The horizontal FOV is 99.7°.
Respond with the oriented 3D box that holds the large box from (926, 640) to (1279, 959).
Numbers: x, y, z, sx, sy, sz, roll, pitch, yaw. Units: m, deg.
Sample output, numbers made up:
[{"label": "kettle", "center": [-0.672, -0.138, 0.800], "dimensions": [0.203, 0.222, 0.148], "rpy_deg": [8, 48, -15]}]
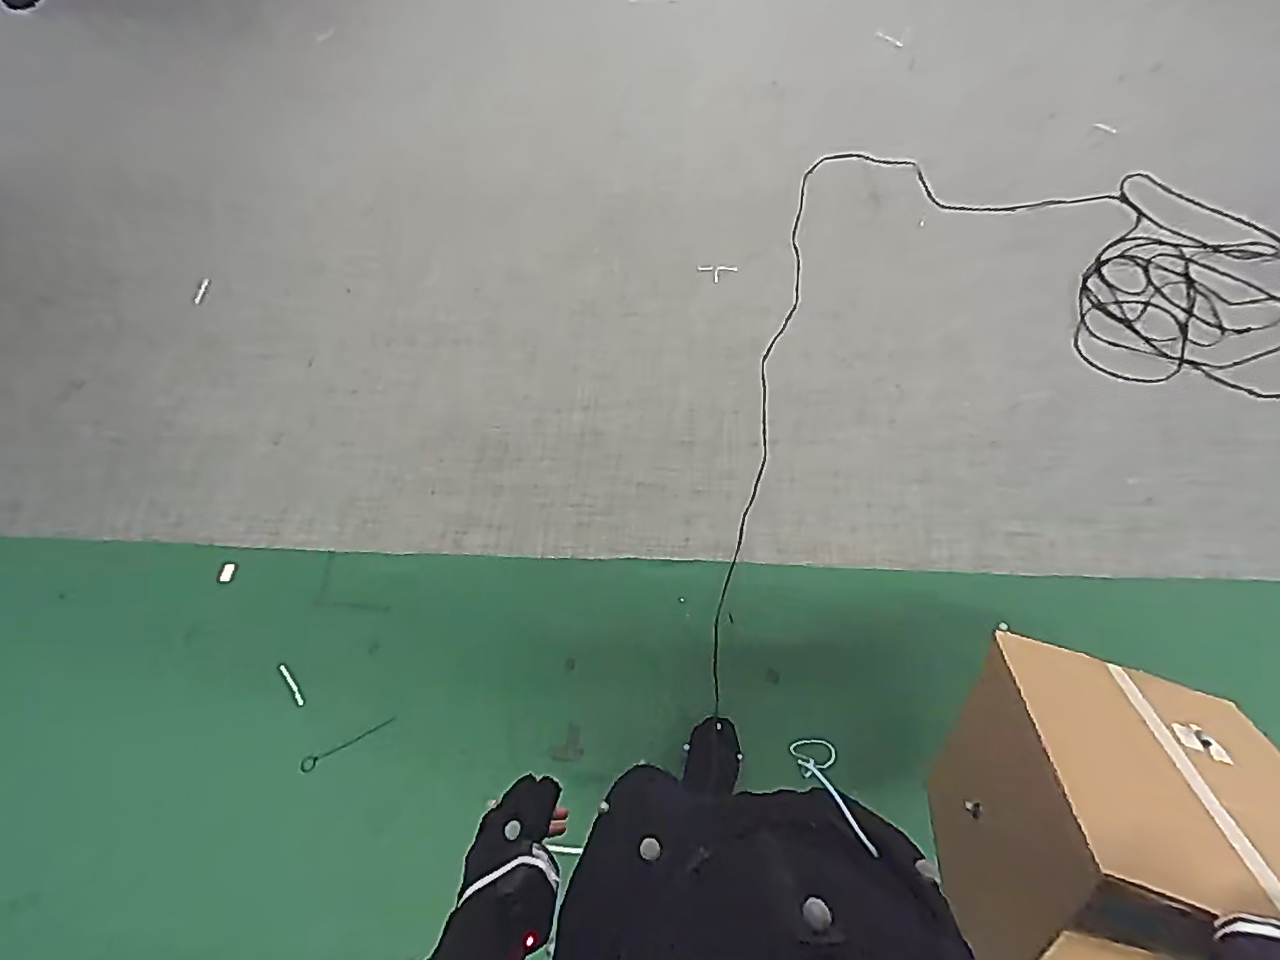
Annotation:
[{"label": "large box", "center": [0.599, 0.484, 0.681], "dimensions": [0.320, 0.408, 0.320], "rpy_deg": [17, 112, 14]}]
